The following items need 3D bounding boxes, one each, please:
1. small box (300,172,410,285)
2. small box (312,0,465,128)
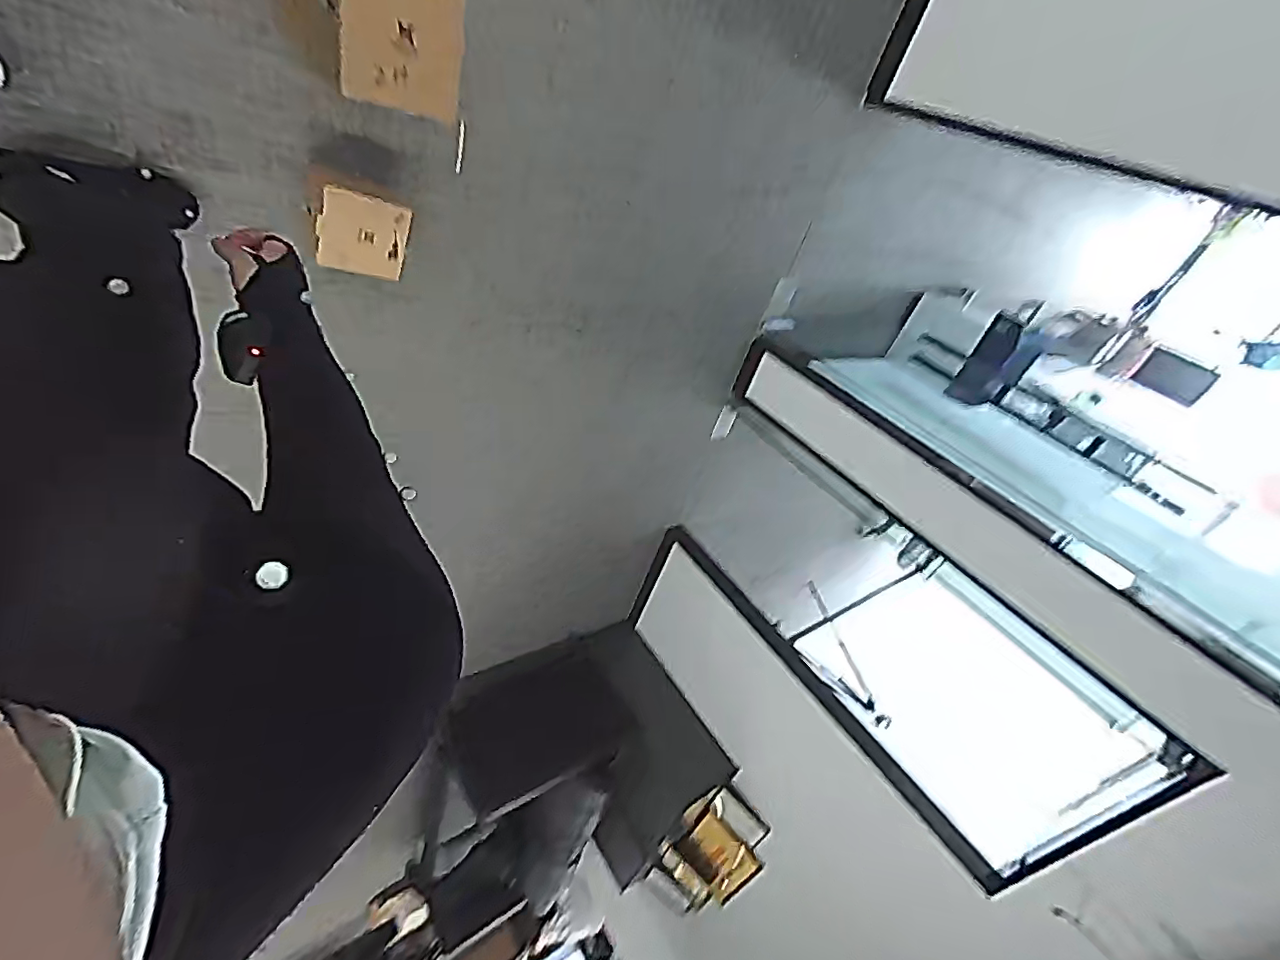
[{"bbox_3d":[-0.648,-0.568,1.218,0.179,0.176,0.168,-2,129,-43],"label":"small box"},{"bbox_3d":[-0.379,-0.661,0.804,0.168,0.176,0.179,-11,135,-38],"label":"small box"}]
